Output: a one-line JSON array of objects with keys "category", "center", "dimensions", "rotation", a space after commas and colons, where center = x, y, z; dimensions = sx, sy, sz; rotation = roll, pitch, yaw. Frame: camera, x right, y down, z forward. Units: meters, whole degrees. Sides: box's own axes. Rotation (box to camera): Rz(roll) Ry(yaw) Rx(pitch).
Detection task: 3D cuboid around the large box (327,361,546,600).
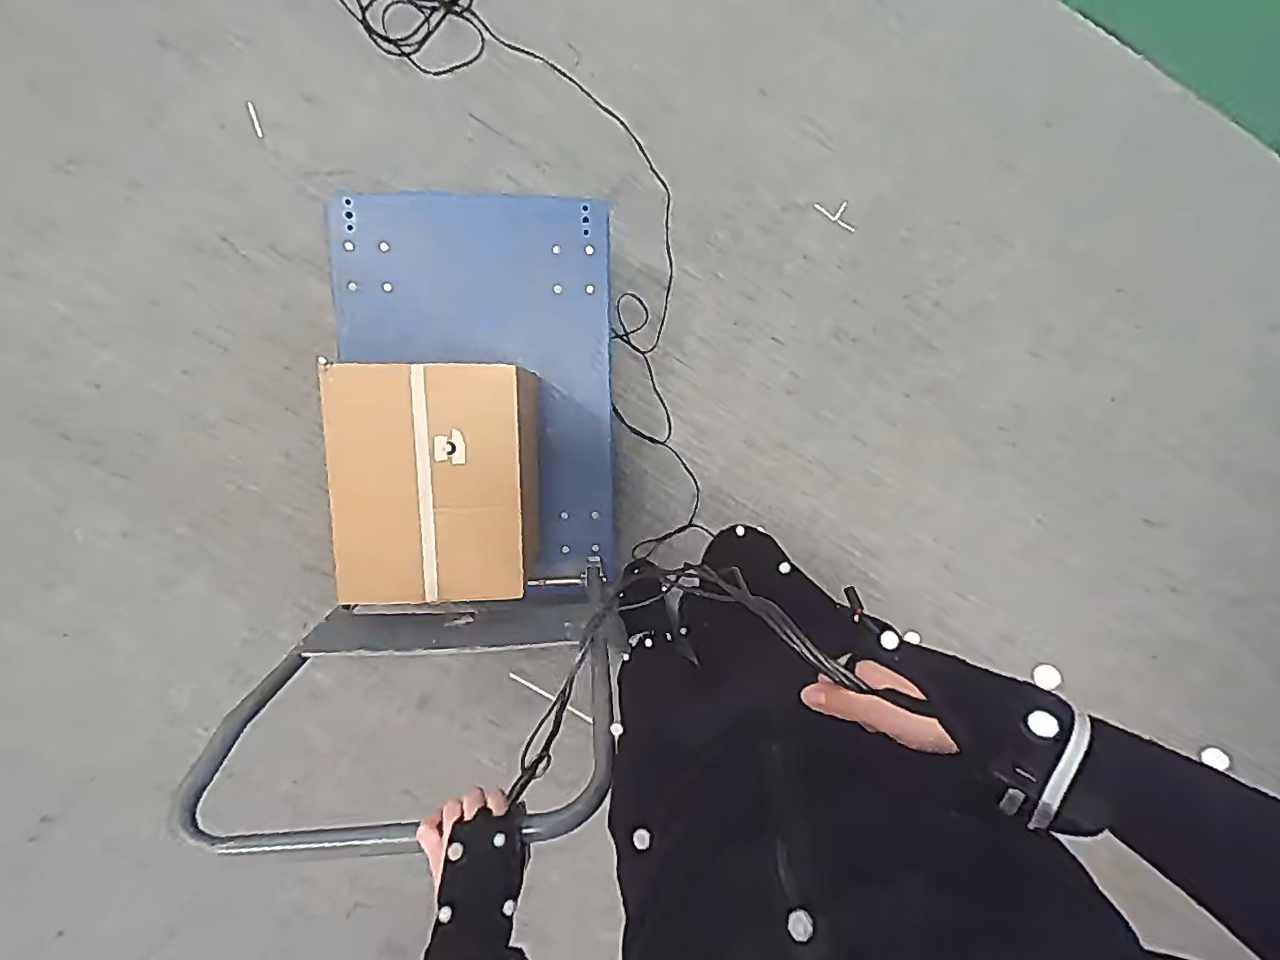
[{"category": "large box", "center": [-0.361, -0.012, 1.056], "dimensions": [0.320, 0.320, 0.408], "rotation": [-1, 97, -5]}]
